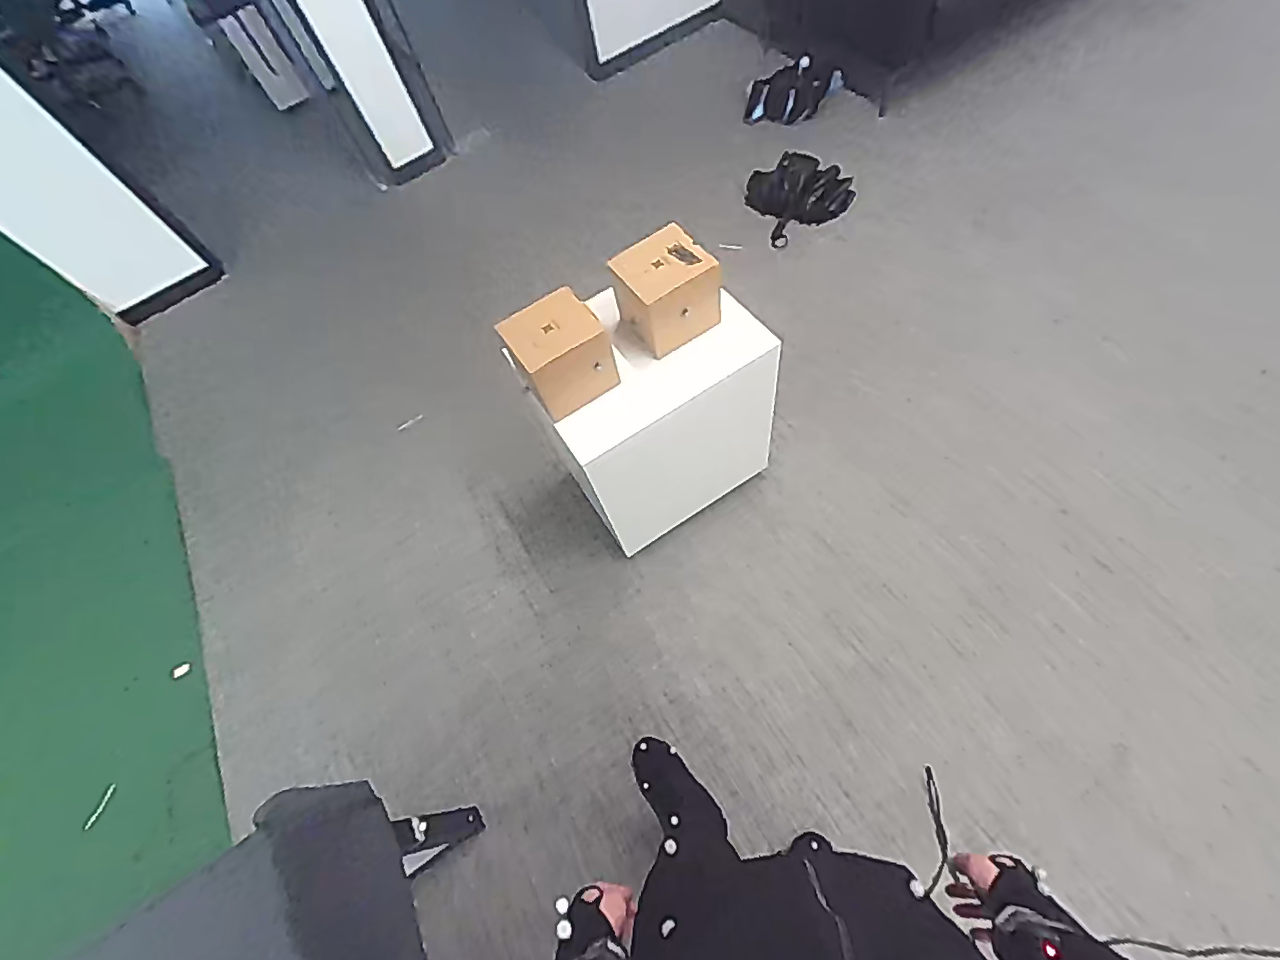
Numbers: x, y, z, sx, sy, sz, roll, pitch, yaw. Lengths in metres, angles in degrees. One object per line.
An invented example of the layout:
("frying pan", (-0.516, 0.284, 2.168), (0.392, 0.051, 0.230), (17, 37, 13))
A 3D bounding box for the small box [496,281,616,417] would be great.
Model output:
("small box", (-0.163, -0.267, 1.116), (0.179, 0.176, 0.168), (-33, 61, -10))

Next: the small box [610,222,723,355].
("small box", (0.059, -0.405, 1.158), (0.179, 0.176, 0.168), (-32, 62, -8))
